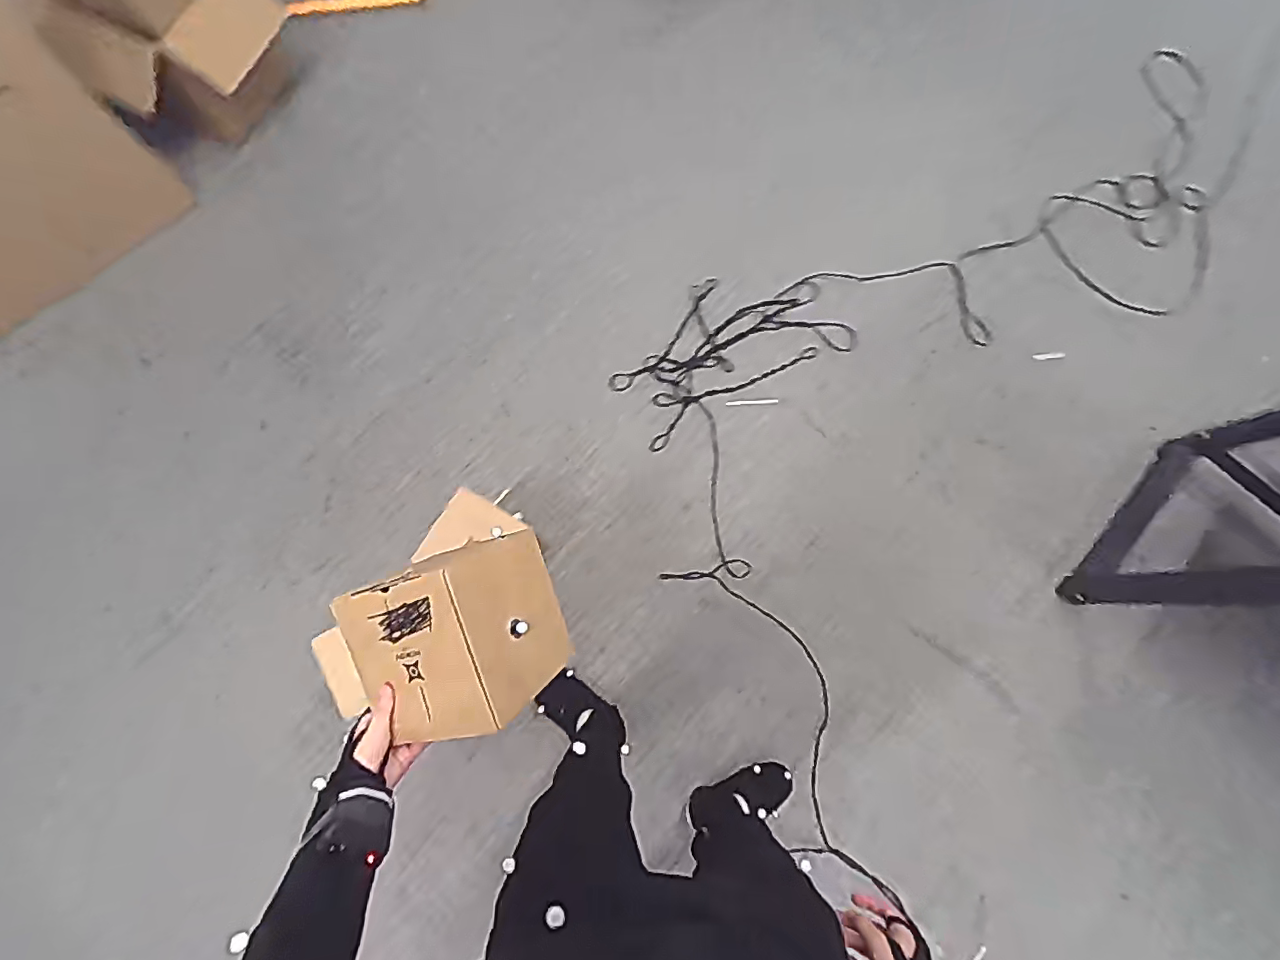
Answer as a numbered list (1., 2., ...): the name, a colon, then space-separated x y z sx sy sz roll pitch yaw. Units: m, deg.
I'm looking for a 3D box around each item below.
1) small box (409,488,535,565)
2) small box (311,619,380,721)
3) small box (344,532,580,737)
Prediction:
1. small box: -0.332 0.145 1.119 0.168 0.176 0.179 31 78 4
2. small box: -0.496 0.343 1.068 0.179 0.176 0.168 -30 79 -10
3. small box: -0.197 0.168 0.632 0.168 0.176 0.179 -16 94 25
